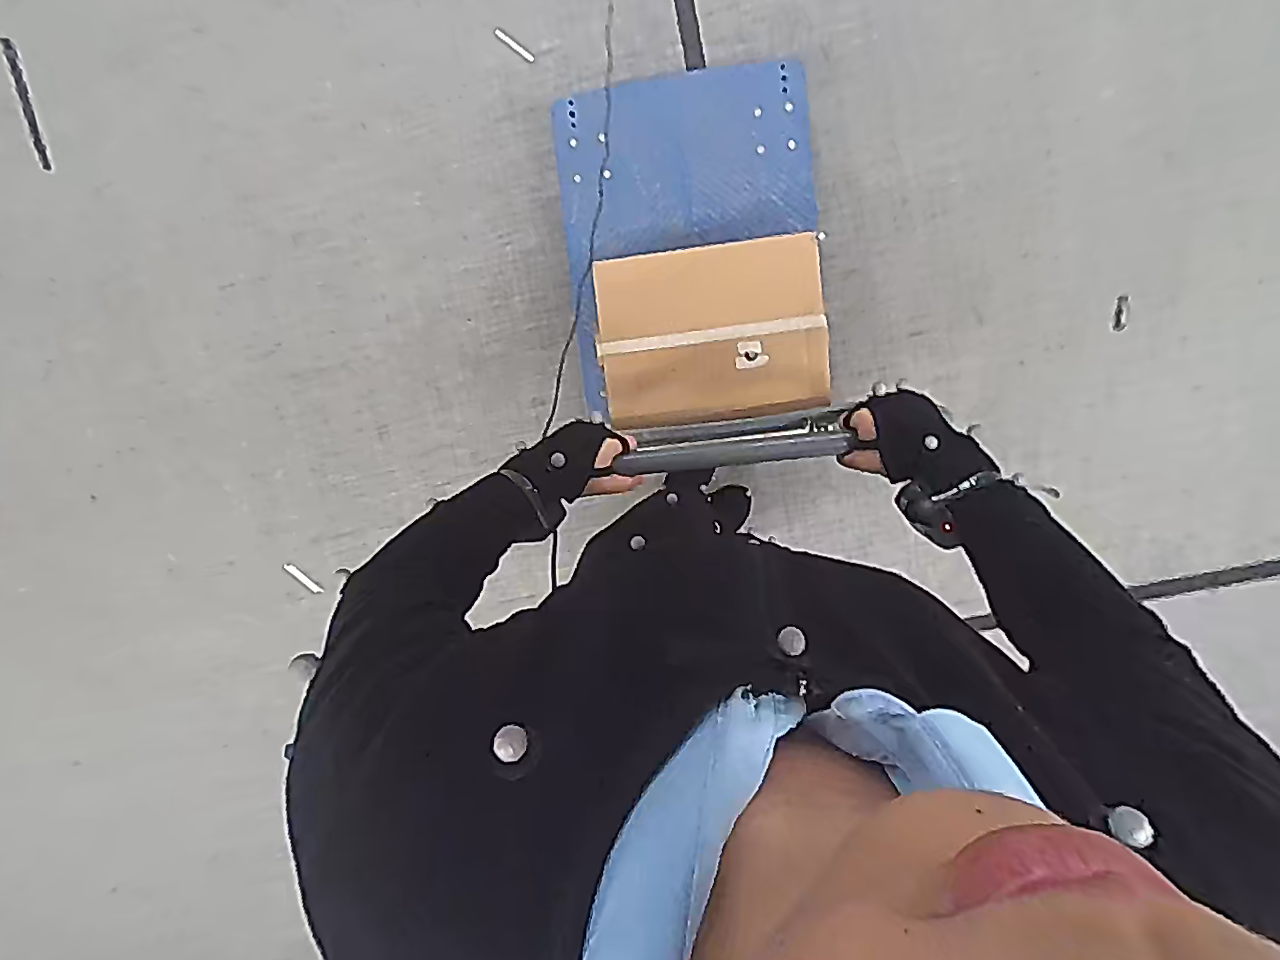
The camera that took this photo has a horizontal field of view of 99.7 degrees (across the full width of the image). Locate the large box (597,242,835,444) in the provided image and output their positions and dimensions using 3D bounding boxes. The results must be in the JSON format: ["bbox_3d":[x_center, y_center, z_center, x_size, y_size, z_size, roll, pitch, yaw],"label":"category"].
[{"bbox_3d":[0.144,-0.253,1.116,0.408,0.320,0.320,-6,95,4],"label":"large box"}]
